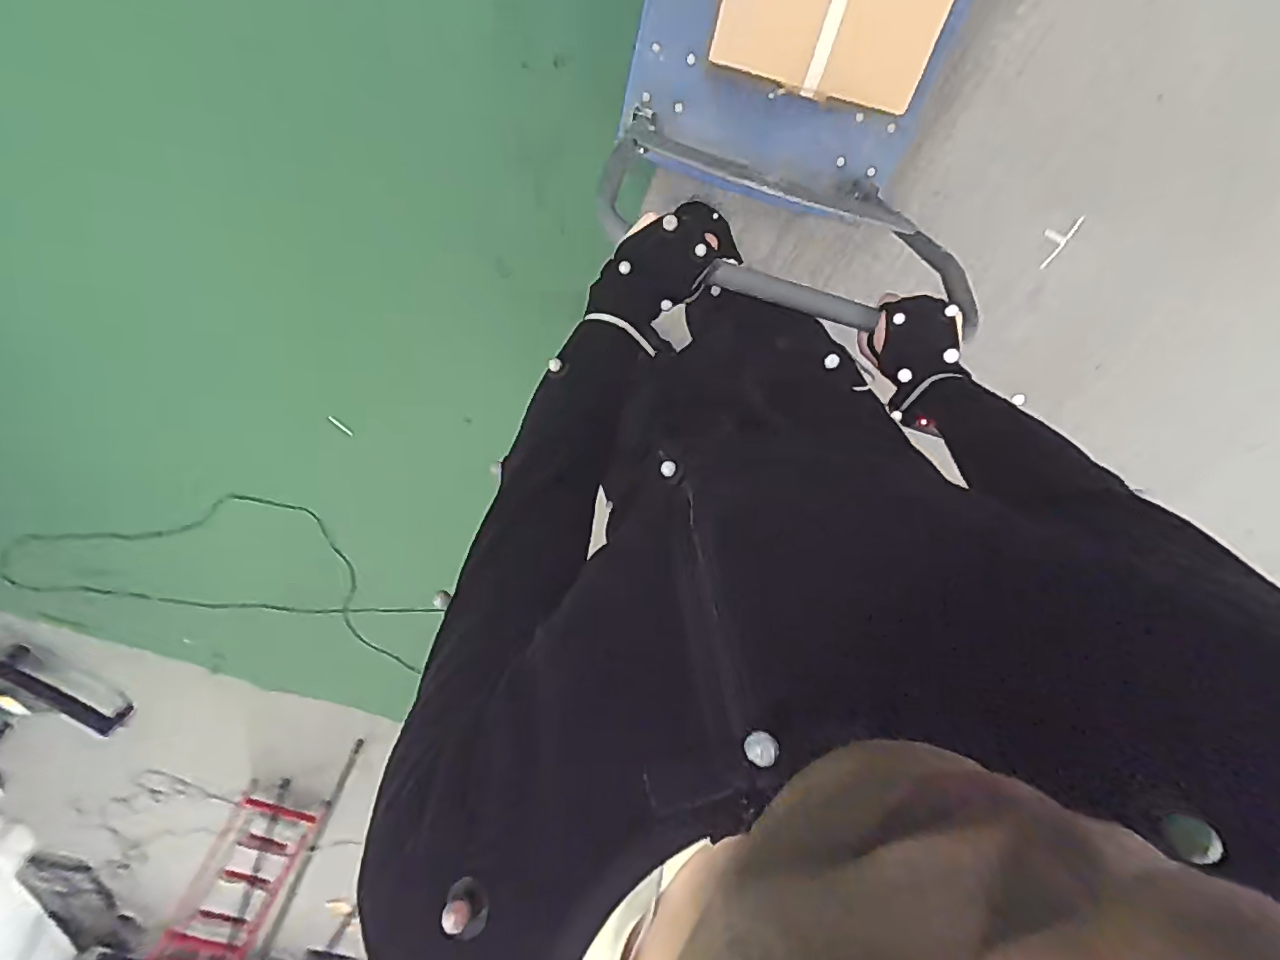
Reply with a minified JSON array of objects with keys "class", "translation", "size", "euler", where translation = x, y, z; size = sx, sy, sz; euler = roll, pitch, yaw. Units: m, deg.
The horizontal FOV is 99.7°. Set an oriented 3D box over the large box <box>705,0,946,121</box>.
[{"class":"large box","translation":[0.299,-0.826,0.836],"size":[0.320,0.320,0.408],"euler":[12,125,-5]}]
